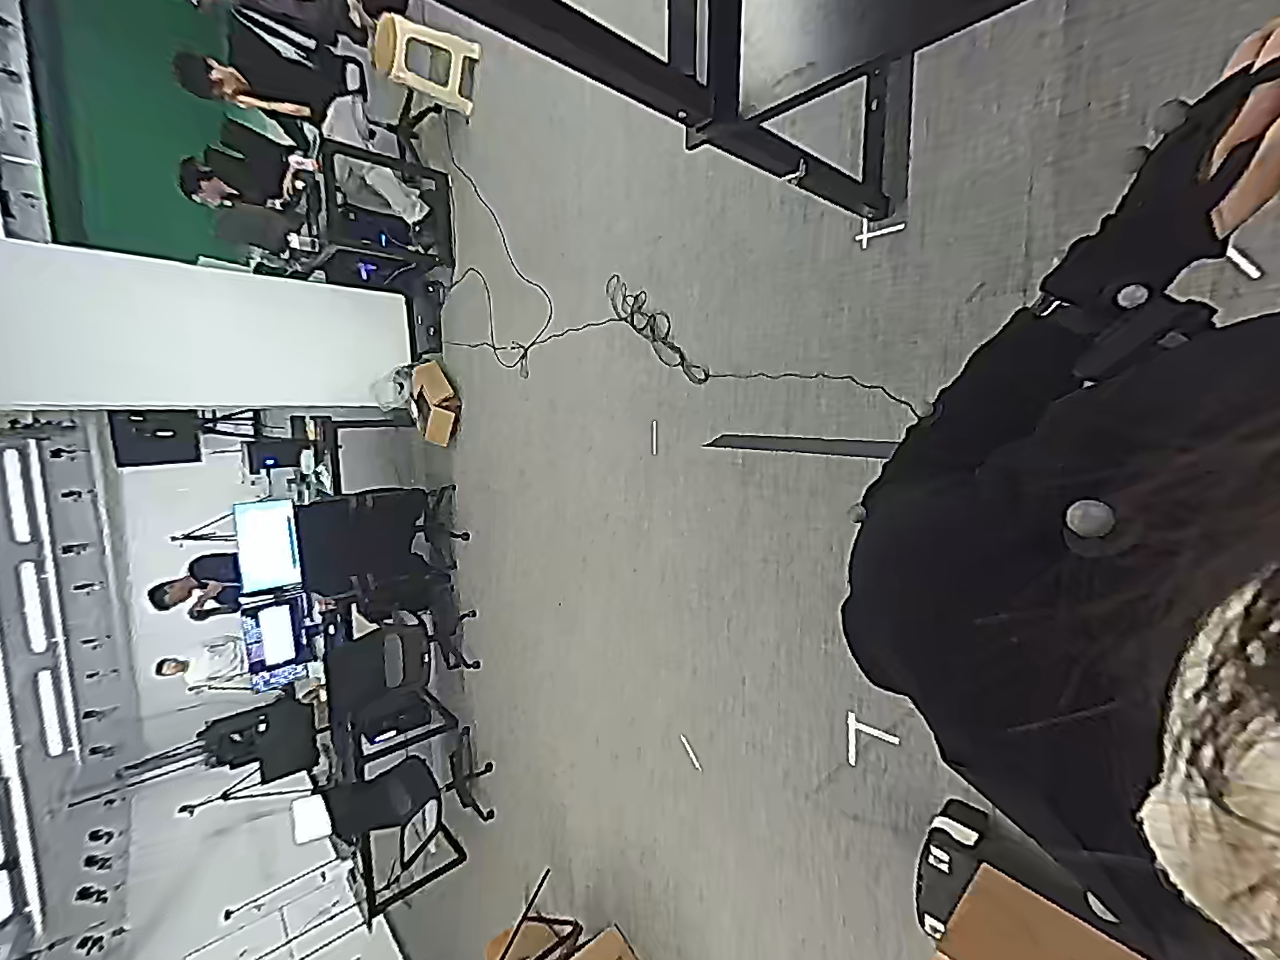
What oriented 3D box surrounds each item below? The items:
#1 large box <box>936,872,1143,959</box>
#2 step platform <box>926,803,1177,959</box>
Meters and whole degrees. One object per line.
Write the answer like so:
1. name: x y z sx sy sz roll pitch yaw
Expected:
1. large box: 0.816 1.086 1.035 0.408 0.320 0.320 12 105 46
2. step platform: 1.008 1.057 1.176 0.684 0.204 0.286 16 107 46
